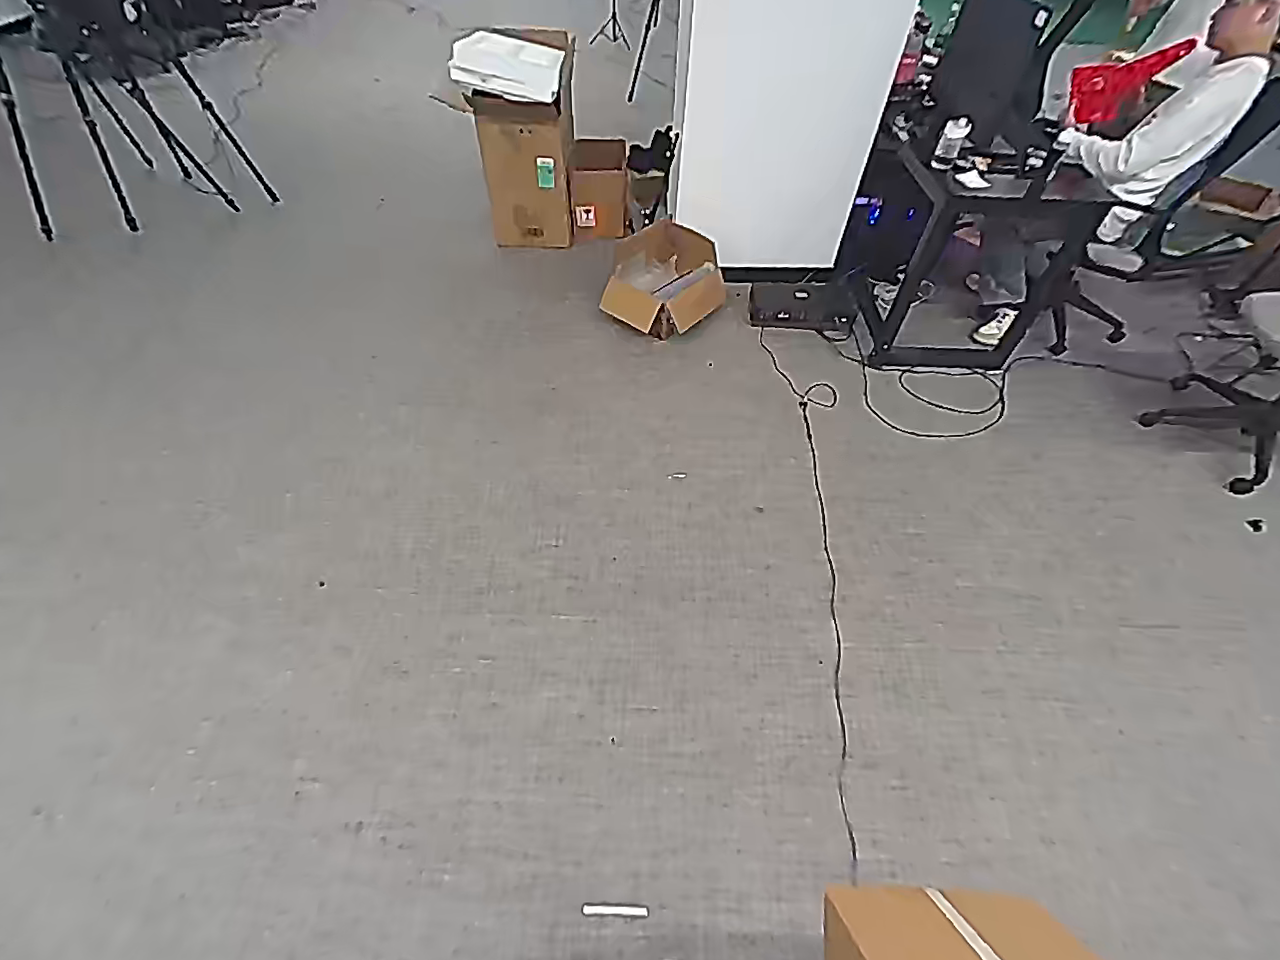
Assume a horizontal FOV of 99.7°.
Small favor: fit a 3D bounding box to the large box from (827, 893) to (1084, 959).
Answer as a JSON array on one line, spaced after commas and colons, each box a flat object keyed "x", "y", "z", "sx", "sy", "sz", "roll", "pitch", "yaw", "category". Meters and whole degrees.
[{"x": 0.423, "y": 0.753, "z": 0.591, "sx": 0.320, "sy": 0.408, "sz": 0.320, "roll": 4, "pitch": 83, "yaw": -1, "category": "large box"}]
